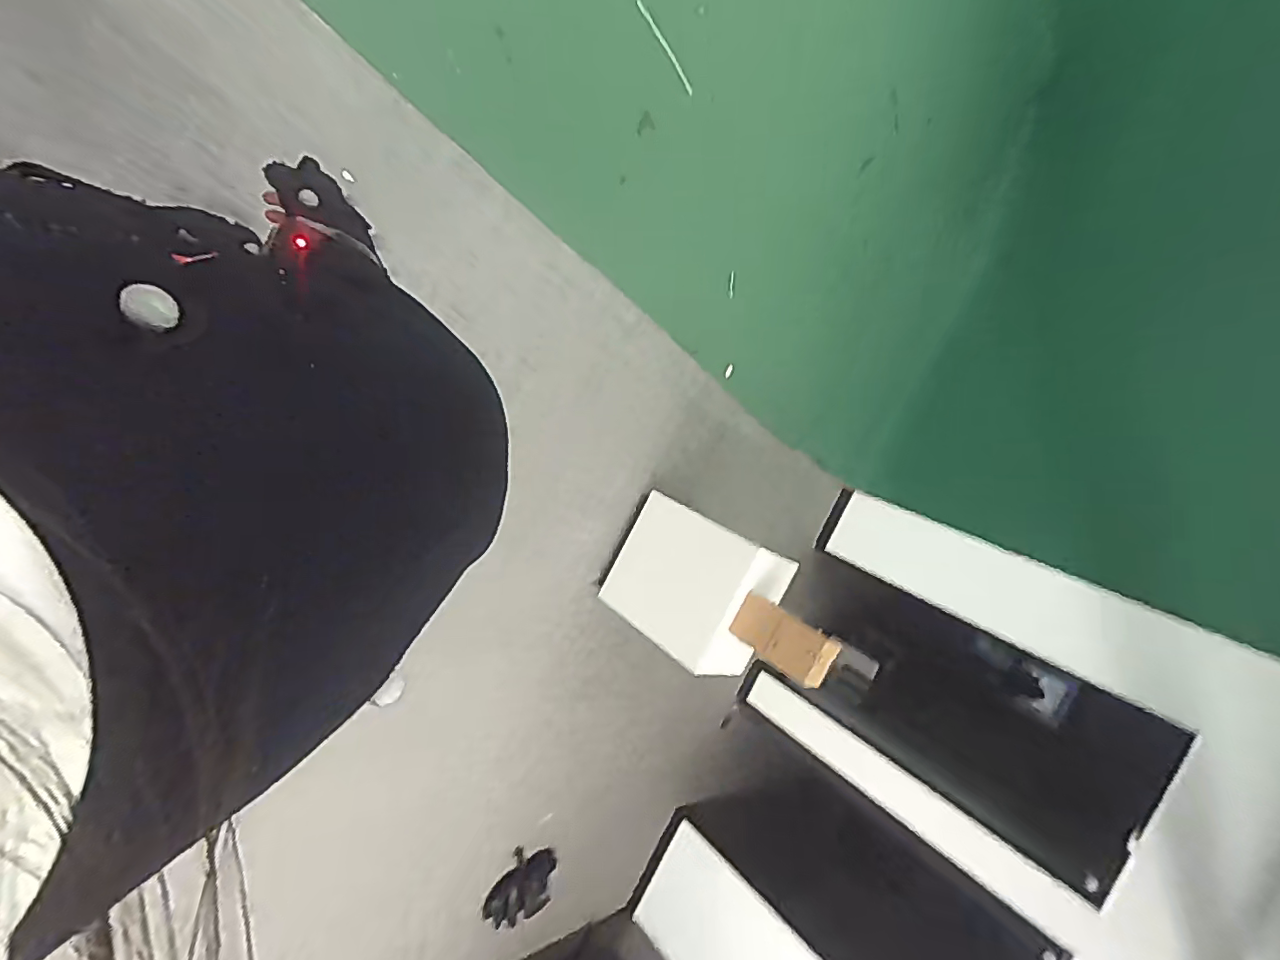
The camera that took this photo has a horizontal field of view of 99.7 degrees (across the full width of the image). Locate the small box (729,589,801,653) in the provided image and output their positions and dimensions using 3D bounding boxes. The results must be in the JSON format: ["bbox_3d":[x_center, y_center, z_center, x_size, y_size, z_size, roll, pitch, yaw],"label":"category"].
[{"bbox_3d":[0.460,0.523,1.997,0.168,0.176,0.179,28,91,-50],"label":"small box"}]

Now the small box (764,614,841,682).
[{"bbox_3d":[0.566,0.586,1.894,0.179,0.176,0.168,25,93,-49],"label":"small box"}]
